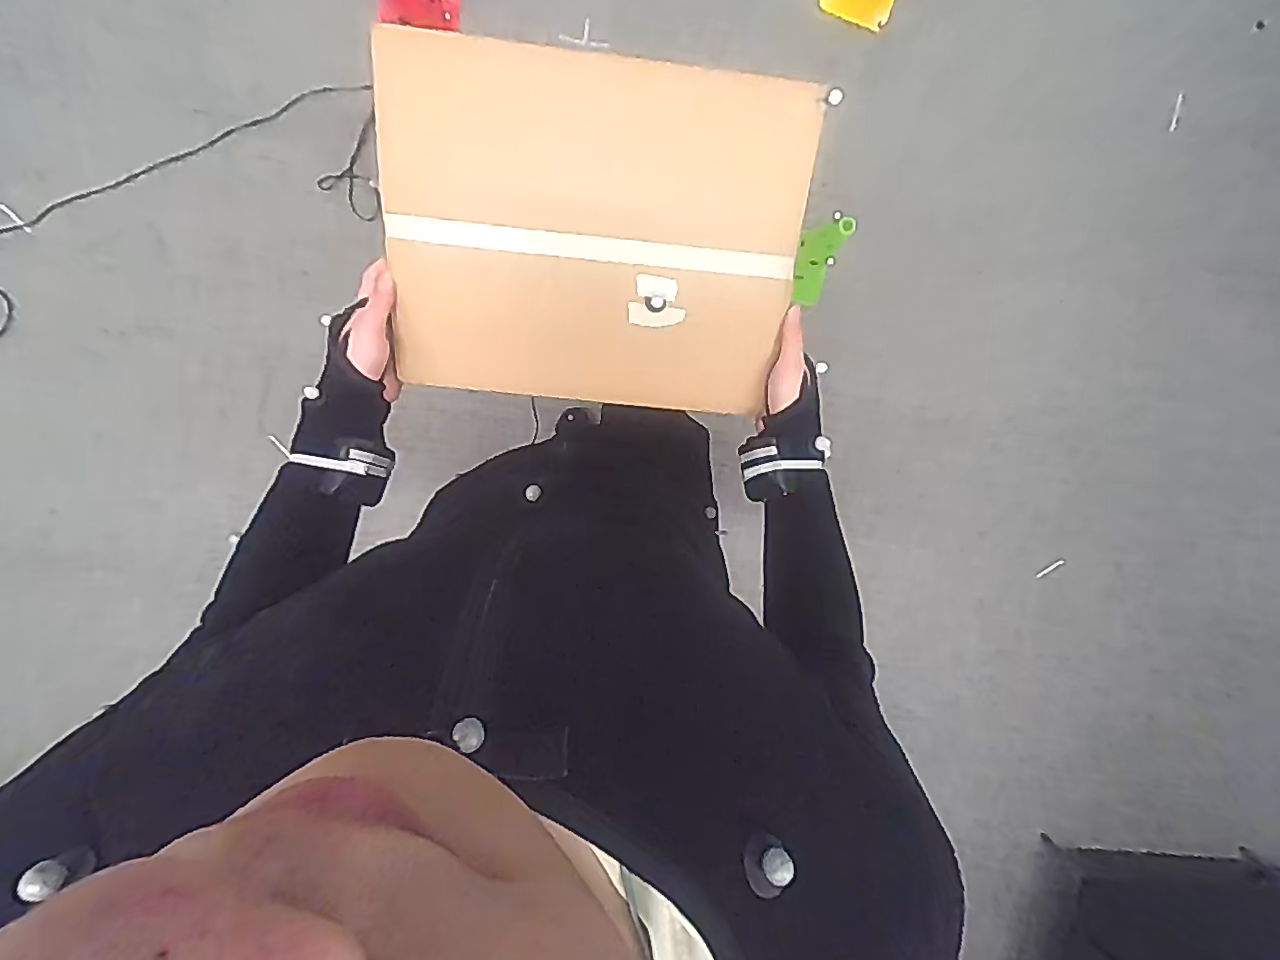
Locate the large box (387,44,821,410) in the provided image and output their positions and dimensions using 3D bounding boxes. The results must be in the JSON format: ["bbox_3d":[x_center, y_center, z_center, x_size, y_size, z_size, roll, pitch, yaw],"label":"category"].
[{"bbox_3d":[-0.048,-0.287,0.683,0.408,0.320,0.320,4,113,-4],"label":"large box"}]

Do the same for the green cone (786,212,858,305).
[{"bbox_3d":[0.464,-0.606,1.405,0.200,0.368,0.202,13,96,-7],"label":"green cone"}]
